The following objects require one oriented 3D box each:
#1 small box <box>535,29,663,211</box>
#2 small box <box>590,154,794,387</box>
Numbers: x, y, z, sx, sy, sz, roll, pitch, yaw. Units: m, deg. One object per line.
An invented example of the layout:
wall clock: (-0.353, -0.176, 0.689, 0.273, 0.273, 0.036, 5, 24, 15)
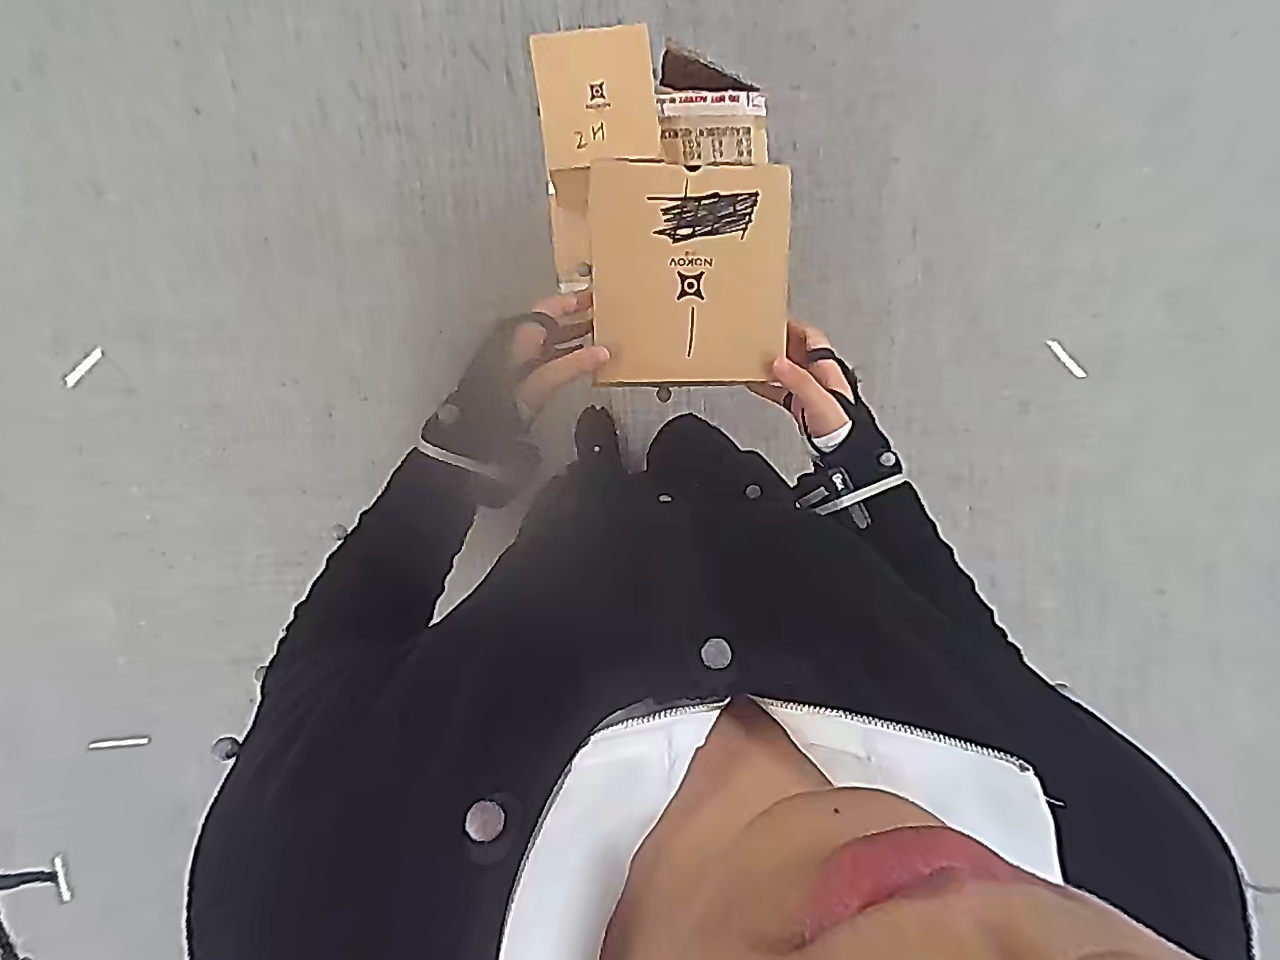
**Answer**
small box: (-0.060, -0.542, 0.836, 0.168, 0.176, 0.179, -8, 101, 0)
small box: (0.036, -0.182, 0.522, 0.168, 0.176, 0.179, -1, 99, -6)
